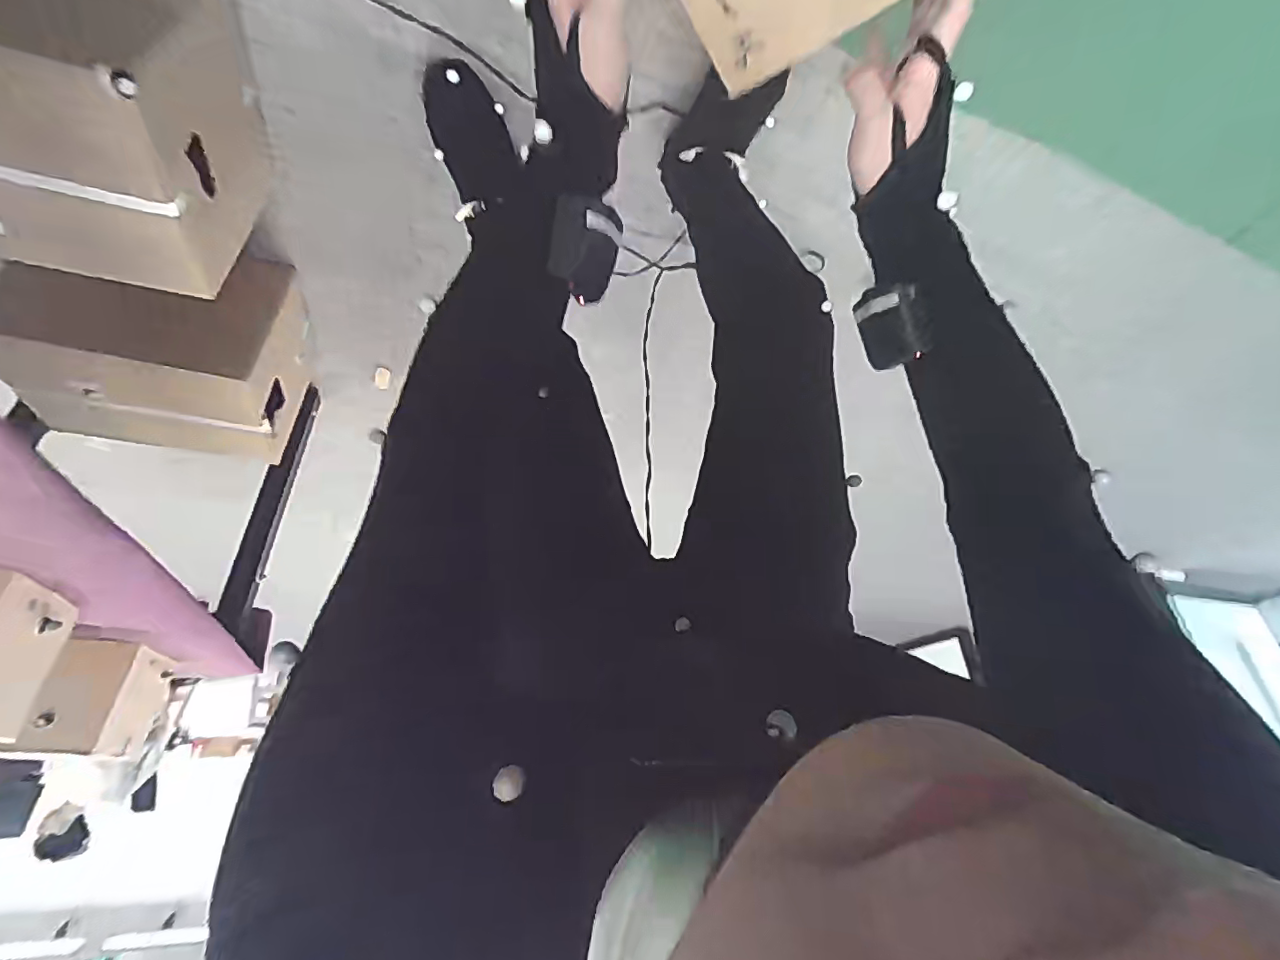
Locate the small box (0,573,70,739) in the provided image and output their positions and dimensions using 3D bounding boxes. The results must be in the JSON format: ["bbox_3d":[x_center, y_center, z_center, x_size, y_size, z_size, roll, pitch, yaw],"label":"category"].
[{"bbox_3d":[-0.802,0.192,0.588,0.179,0.176,0.168,12,148,-19],"label":"small box"}]

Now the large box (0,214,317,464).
[{"bbox_3d":[-0.947,-0.268,1.108,0.408,0.320,0.320,11,147,-18],"label":"large box"}]

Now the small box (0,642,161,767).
[{"bbox_3d":[-0.930,0.366,0.879,0.179,0.176,0.168,11,147,-16],"label":"small box"}]
